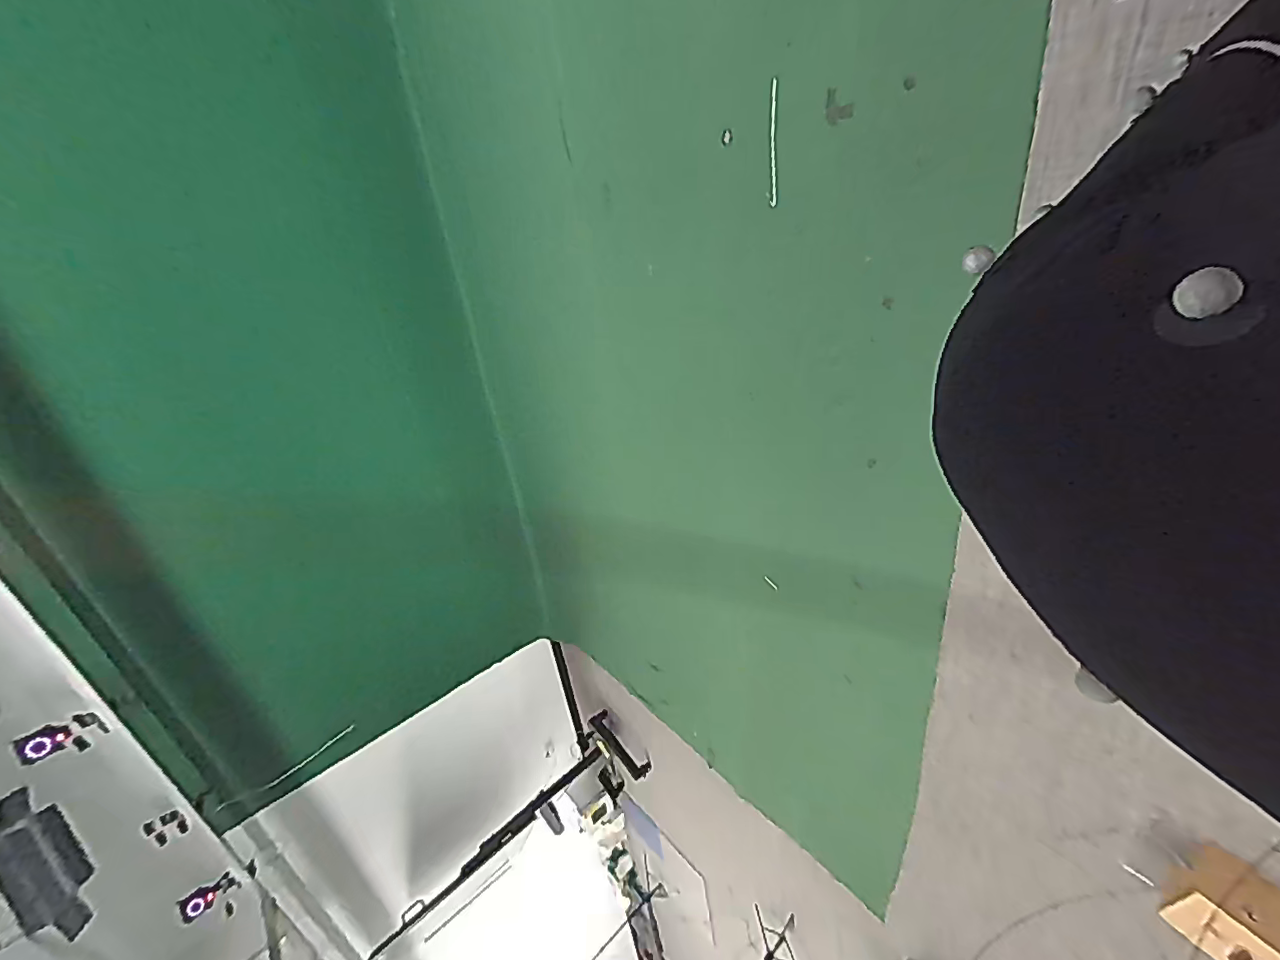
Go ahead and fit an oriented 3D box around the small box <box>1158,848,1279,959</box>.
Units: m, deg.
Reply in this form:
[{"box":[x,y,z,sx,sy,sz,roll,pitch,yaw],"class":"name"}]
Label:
[{"box":[1.459,1.071,1.339,0.179,0.176,0.168,38,139,36],"class":"small box"}]
